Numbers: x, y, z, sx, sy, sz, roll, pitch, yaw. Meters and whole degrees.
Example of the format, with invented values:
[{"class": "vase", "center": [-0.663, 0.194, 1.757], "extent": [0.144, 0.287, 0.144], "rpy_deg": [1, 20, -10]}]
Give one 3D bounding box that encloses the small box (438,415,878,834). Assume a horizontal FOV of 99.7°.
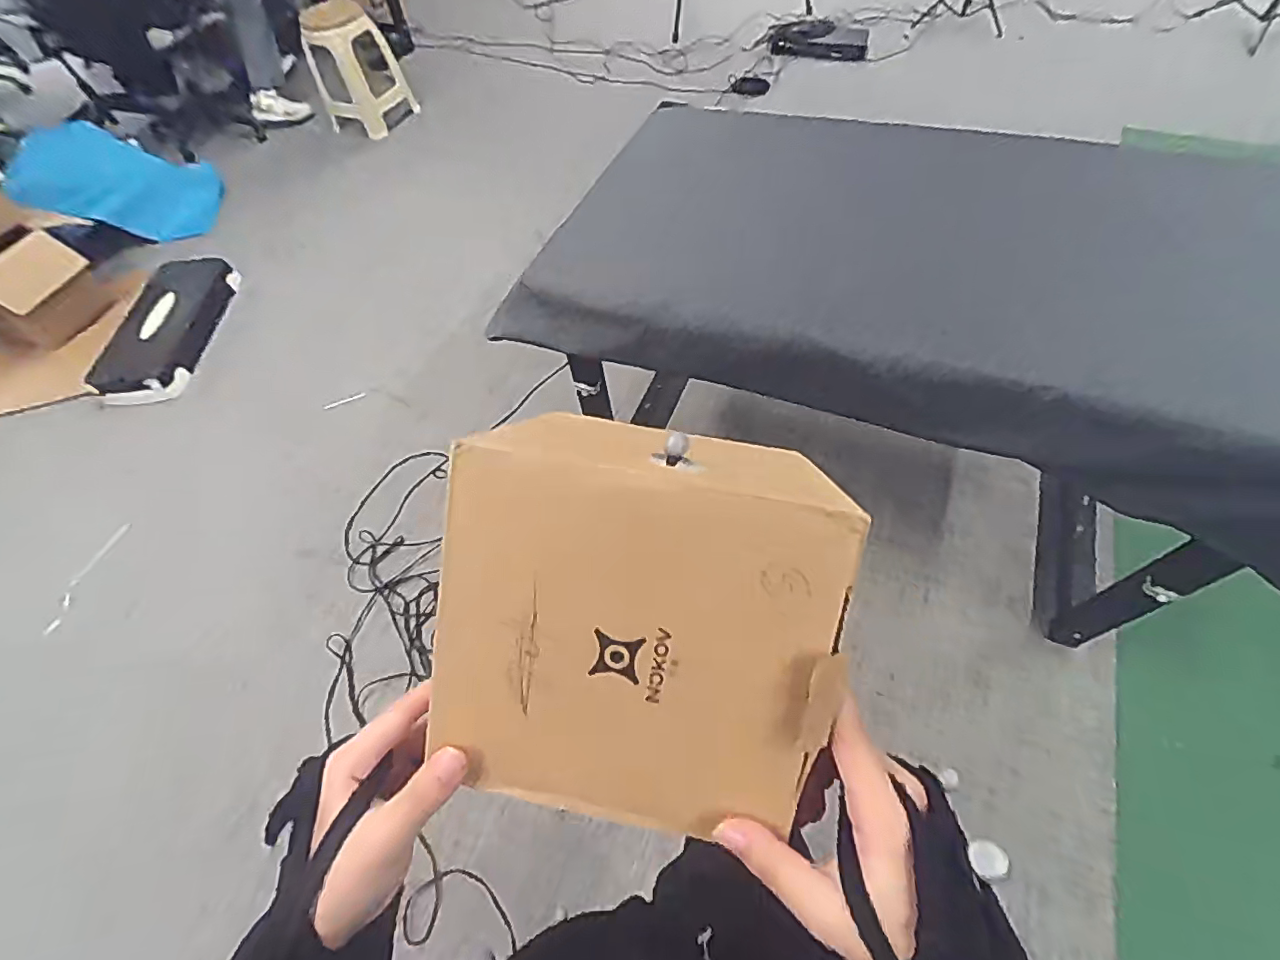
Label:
[{"class": "small box", "center": [0.008, 0.056, 0.317], "extent": [0.179, 0.176, 0.168], "rpy_deg": [10, 100, 5]}]
